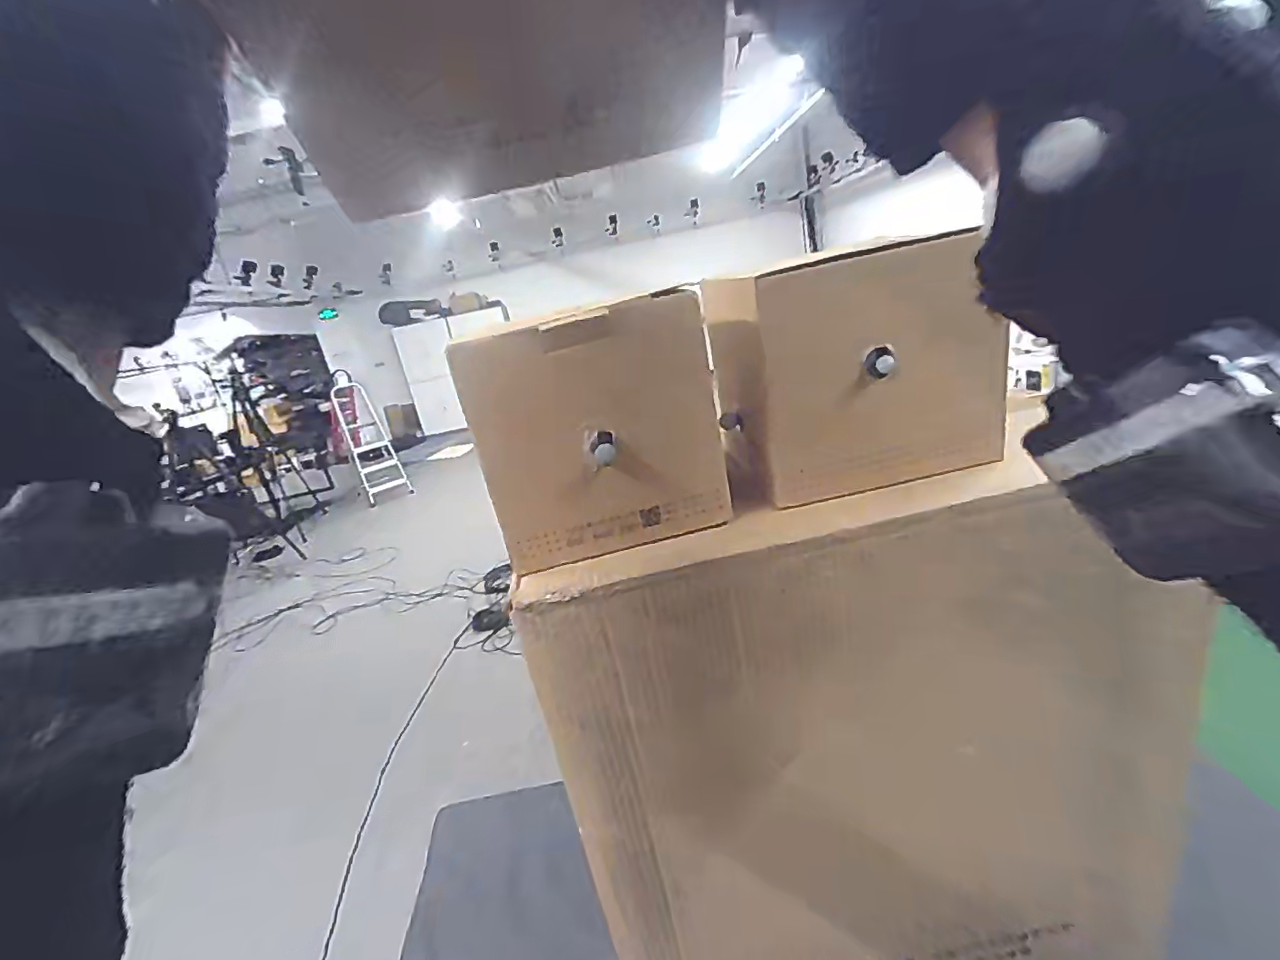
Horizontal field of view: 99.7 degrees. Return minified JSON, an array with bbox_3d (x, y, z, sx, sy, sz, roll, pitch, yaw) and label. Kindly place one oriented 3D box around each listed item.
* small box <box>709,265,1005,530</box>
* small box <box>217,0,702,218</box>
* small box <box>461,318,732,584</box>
[{"bbox_3d":[0.168,-0.076,0.460,0.179,0.176,0.168,-12,19,-1],"label":"small box"},{"bbox_3d":[-0.072,-0.233,0.223,0.168,0.176,0.179,-13,59,-2],"label":"small box"},{"bbox_3d":[-0.034,-0.029,0.459,0.168,0.176,0.179,-16,20,-6],"label":"small box"}]
